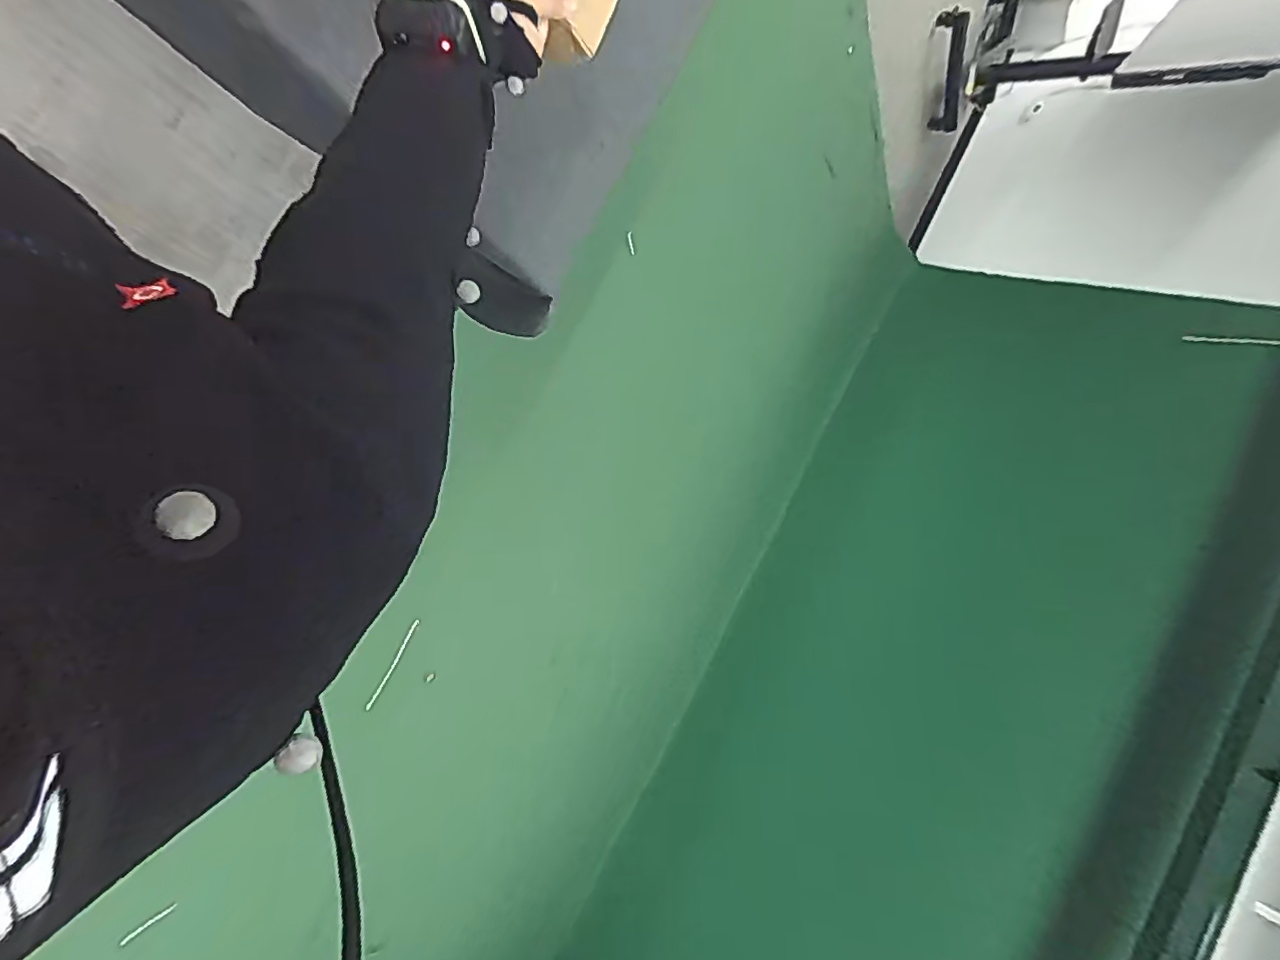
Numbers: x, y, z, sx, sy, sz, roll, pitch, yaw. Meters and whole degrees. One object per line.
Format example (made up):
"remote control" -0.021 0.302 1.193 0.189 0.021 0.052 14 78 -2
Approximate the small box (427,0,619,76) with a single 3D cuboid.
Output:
"small box" -0.119 -0.530 0.509 0.168 0.176 0.179 27 81 -57
